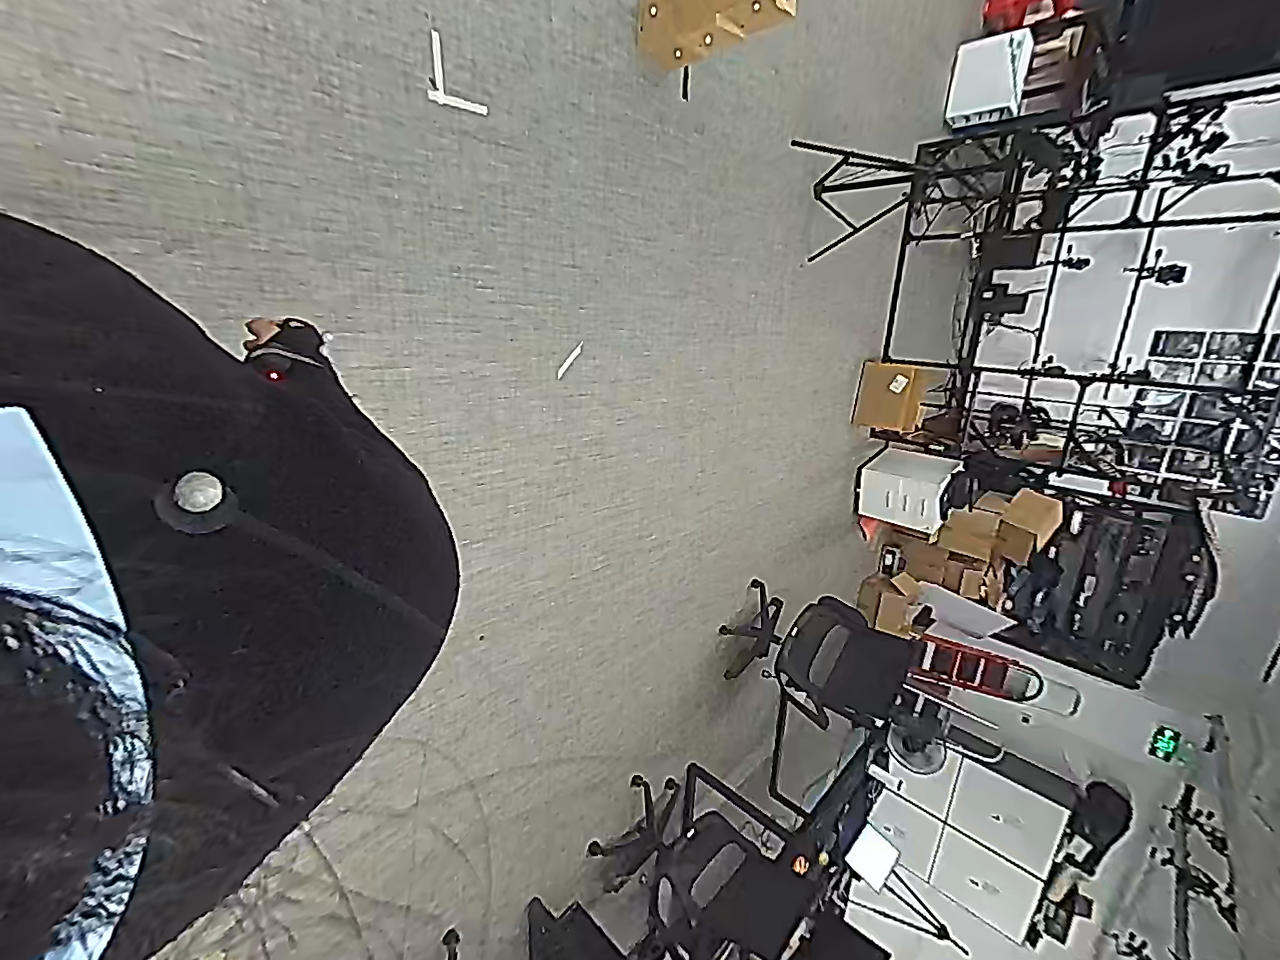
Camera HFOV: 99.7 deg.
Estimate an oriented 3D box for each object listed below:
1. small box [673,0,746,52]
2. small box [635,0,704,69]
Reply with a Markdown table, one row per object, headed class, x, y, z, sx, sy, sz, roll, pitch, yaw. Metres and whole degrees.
| class | x | y | z | sx | sy | sz | roll | pitch | yaw |
| --- | --- | --- | --- | --- | --- | --- | --- | --- | --- |
| small box | 0.214 | -1.481 | 1.692 | 0.168 | 0.176 | 0.179 | -22 | 118 | -42 |
| small box | 0.103 | -1.514 | 1.806 | 0.179 | 0.176 | 0.168 | -11 | 112 | -46 |
